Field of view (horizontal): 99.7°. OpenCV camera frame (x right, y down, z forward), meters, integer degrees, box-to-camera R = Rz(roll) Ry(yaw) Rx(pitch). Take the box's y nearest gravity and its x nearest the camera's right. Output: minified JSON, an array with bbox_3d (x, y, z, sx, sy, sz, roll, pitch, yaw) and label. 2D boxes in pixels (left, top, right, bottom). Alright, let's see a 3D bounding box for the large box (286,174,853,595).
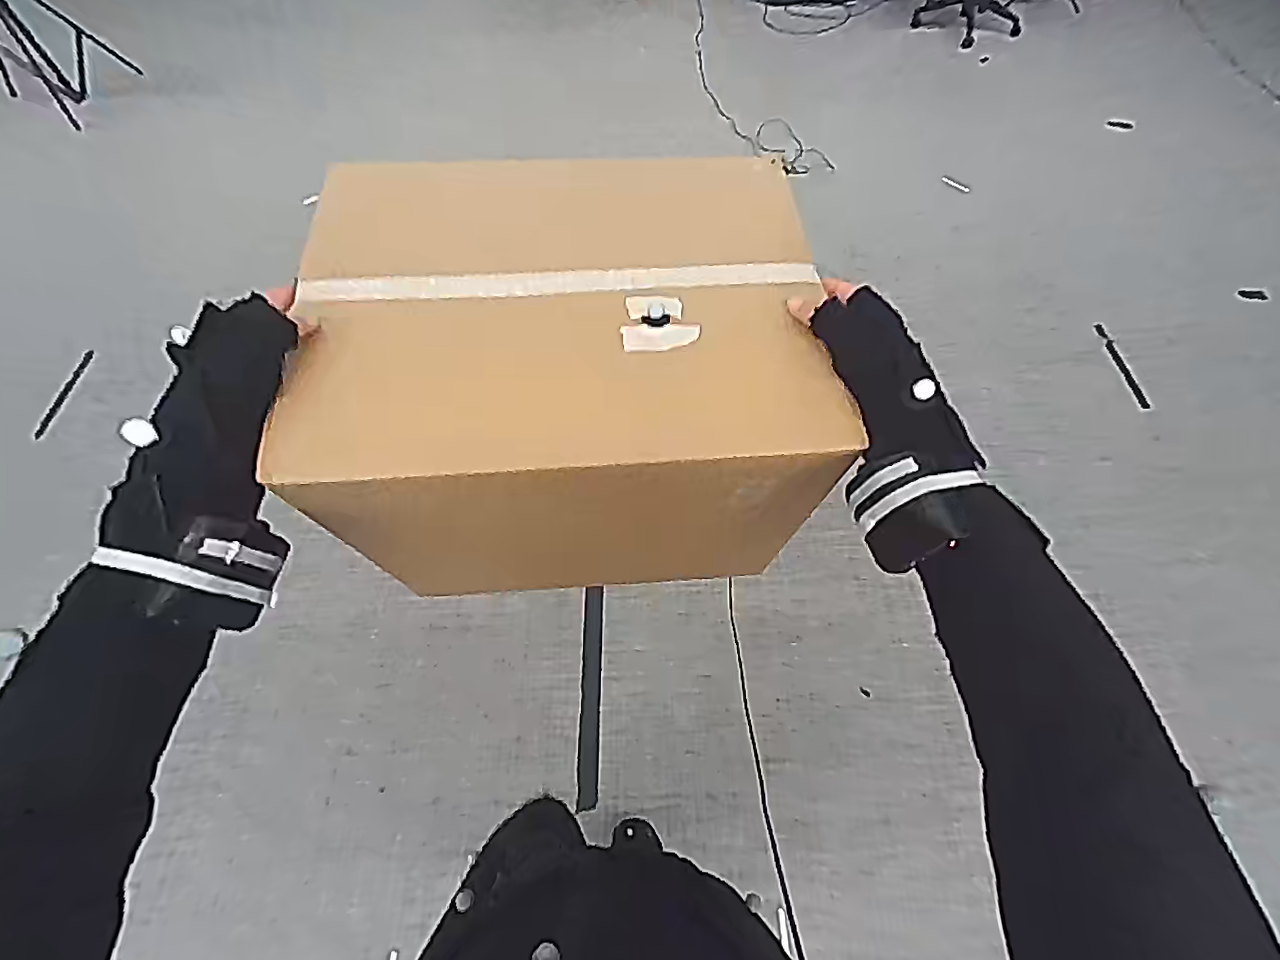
[{"bbox_3d":[-0.062,-0.080,0.572,0.408,0.320,0.320,-3,64,-4],"label":"large box"}]
